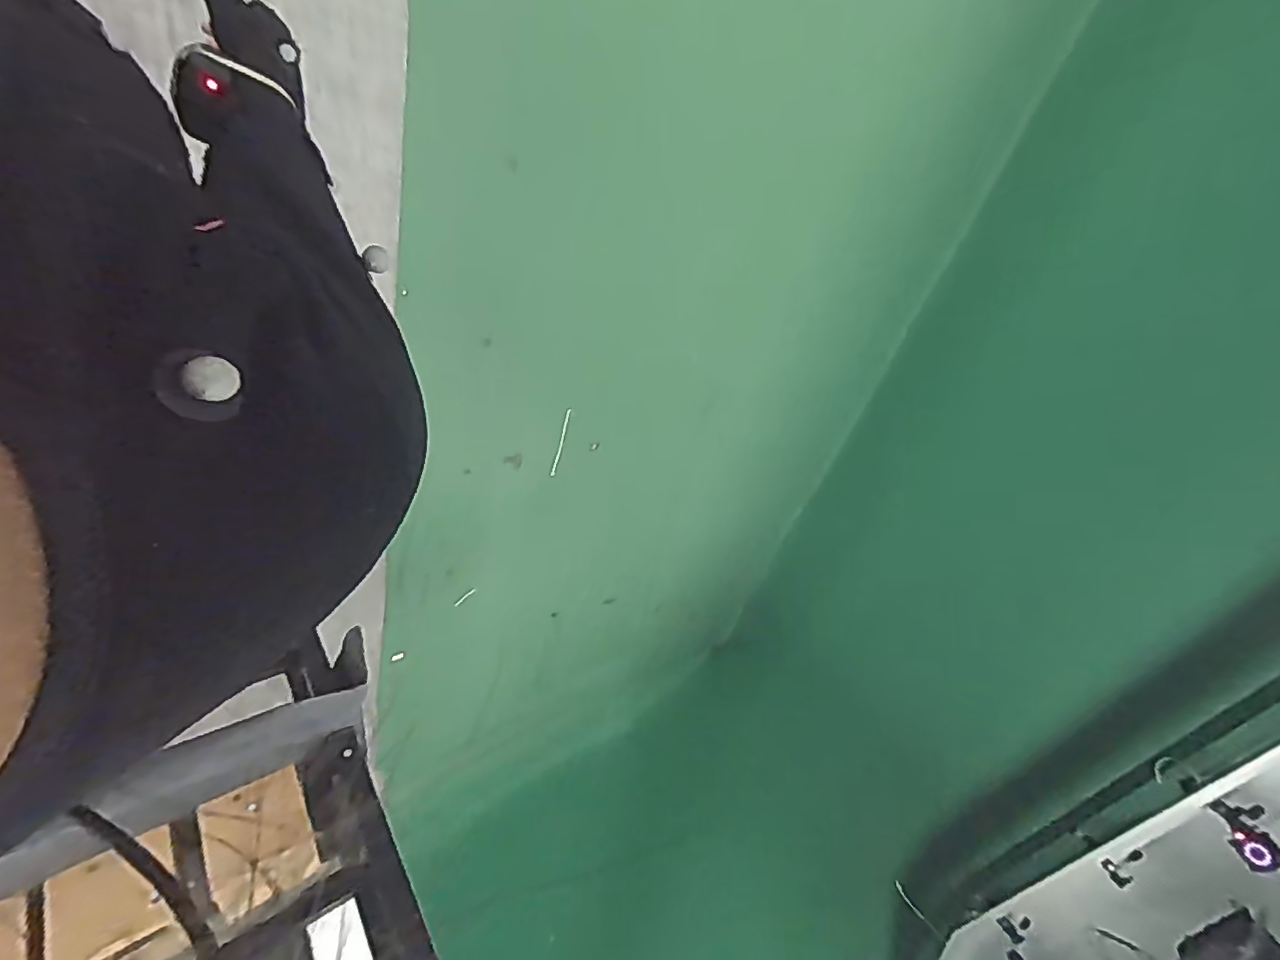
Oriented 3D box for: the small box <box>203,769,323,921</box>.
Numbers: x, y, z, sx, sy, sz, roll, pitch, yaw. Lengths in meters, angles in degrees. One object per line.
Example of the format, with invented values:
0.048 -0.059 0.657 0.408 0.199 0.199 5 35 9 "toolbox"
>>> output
-0.766 0.736 1.105 0.168 0.176 0.179 -15 136 -38 "small box"
